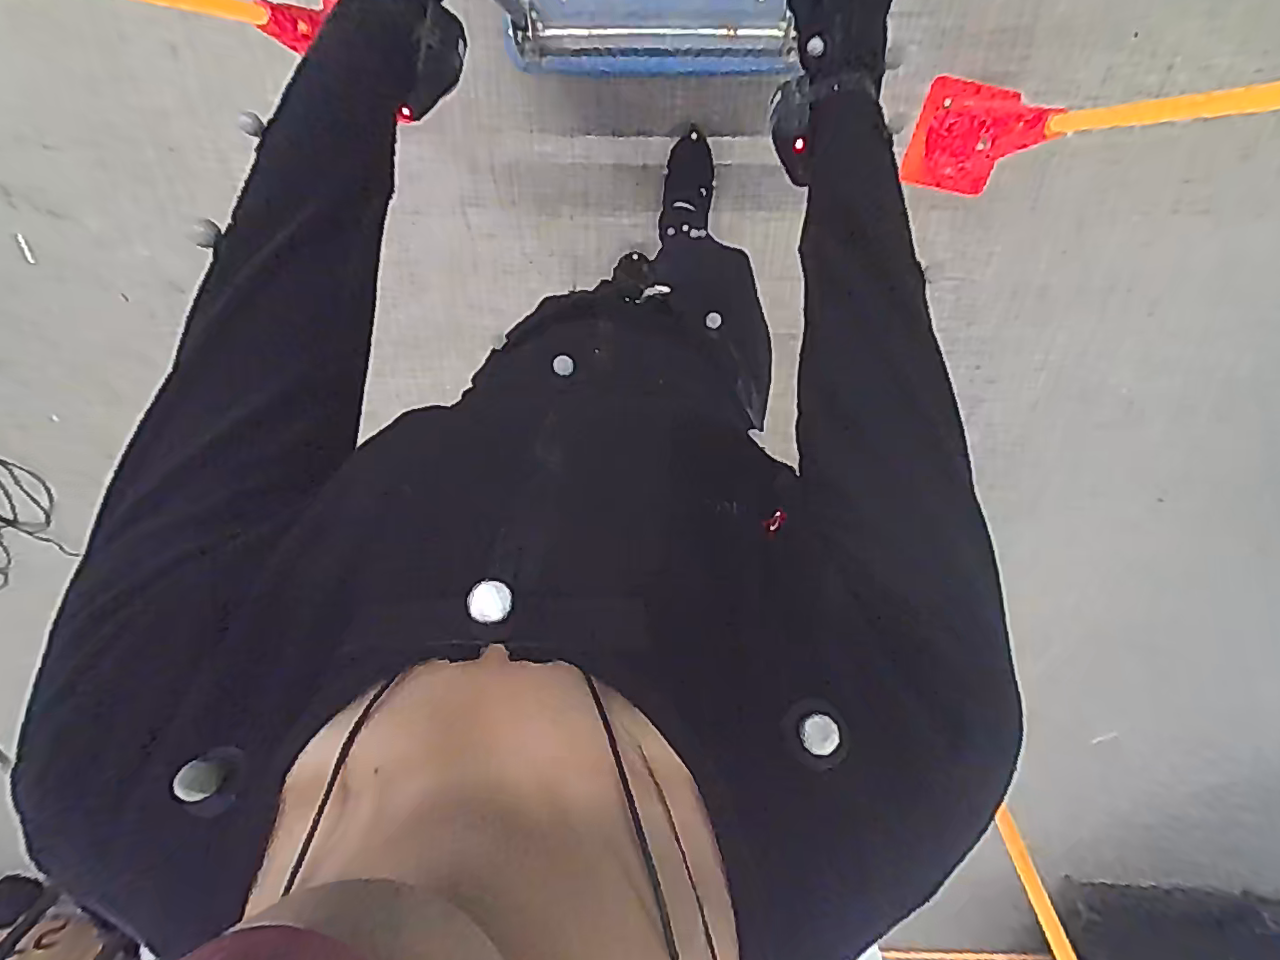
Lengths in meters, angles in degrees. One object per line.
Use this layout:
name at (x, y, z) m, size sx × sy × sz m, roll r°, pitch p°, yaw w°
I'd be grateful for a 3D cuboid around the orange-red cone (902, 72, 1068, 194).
orange-red cone at (0.681, -0.660, 1.019) m, size 0.198 × 0.360 × 0.199 m, roll 12°, pitch 120°, yaw -2°
